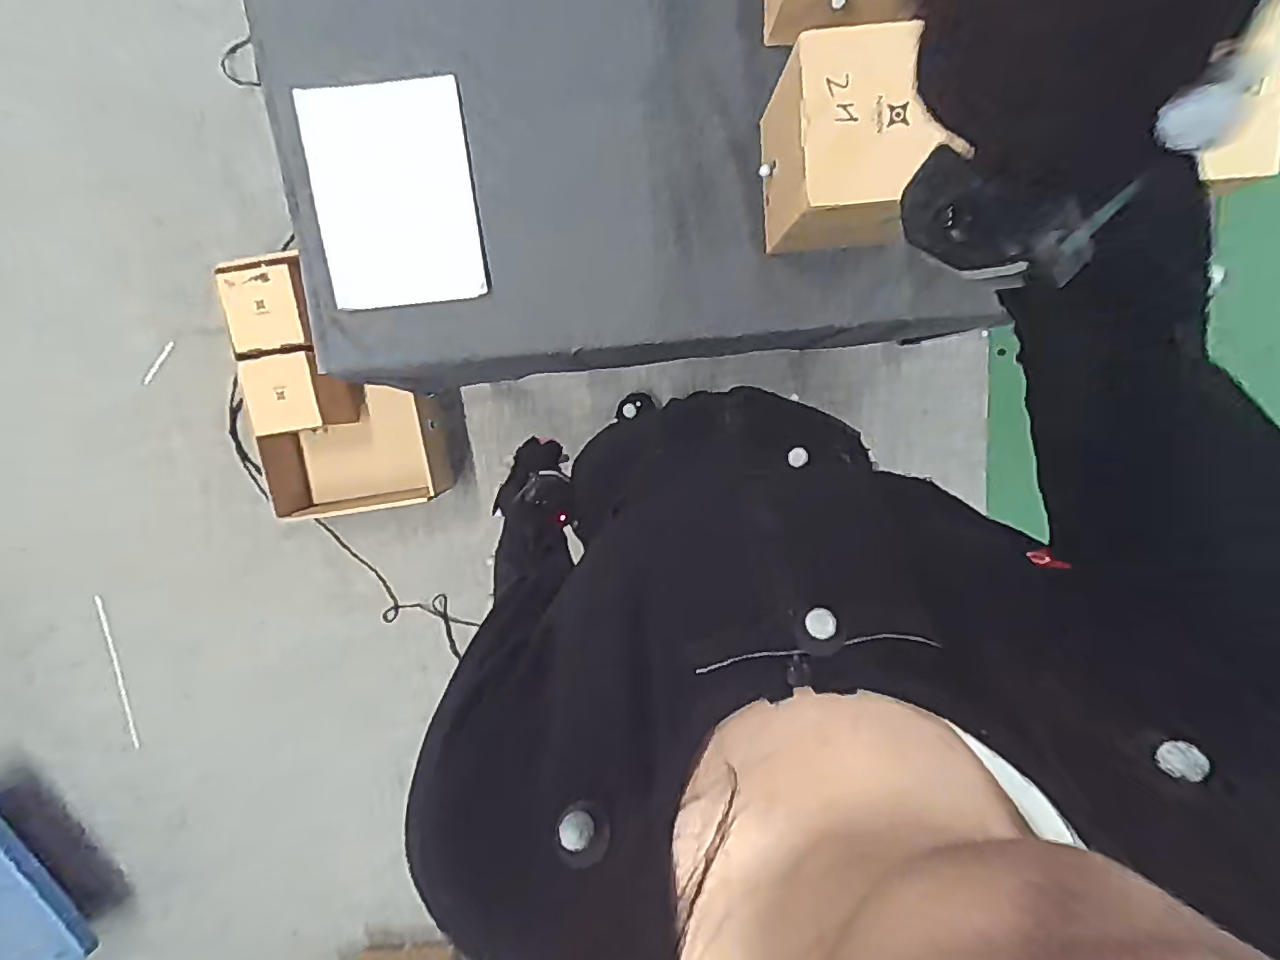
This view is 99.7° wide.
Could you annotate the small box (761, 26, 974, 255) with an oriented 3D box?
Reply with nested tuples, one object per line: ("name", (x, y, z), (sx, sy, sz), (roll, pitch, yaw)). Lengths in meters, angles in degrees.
("small box", (0.246, -0.369, 0.619), (0.179, 0.176, 0.168), (-4, 97, 1))

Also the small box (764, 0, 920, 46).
("small box", (0.235, -0.612, 0.589), (0.168, 0.176, 0.179), (-2, 98, 0))
